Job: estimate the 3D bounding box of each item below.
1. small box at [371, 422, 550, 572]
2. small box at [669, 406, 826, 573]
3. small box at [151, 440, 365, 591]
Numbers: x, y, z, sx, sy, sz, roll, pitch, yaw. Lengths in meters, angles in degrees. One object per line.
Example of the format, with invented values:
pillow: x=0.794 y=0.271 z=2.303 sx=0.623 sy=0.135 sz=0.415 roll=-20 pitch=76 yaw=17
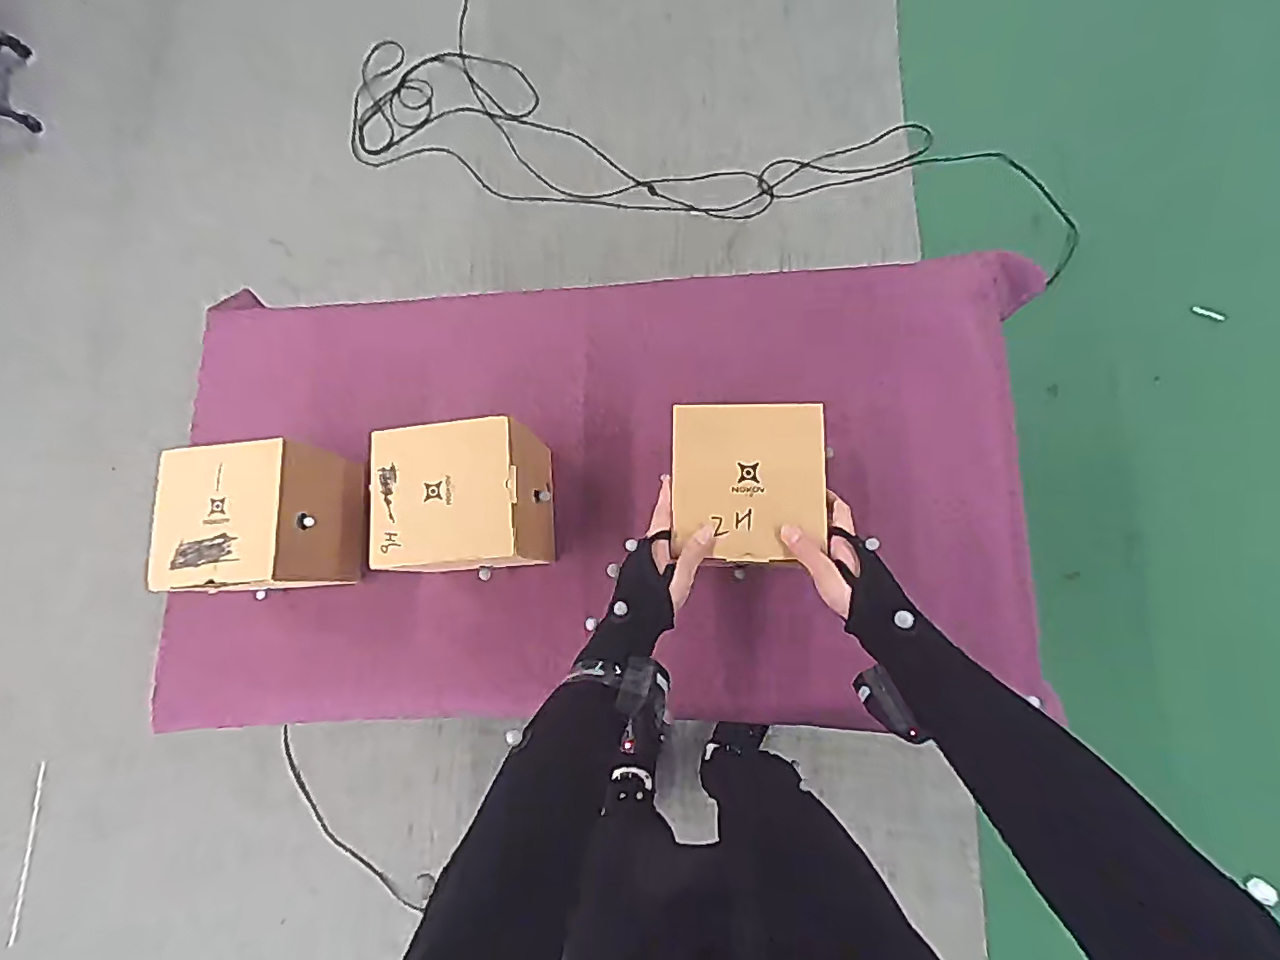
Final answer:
small box: x=-0.218 y=0.032 z=0.703 sx=0.179 sy=0.176 sz=0.168 roll=-5 pitch=78 yaw=6
small box: x=0.126 y=0.019 z=0.662 sx=0.168 sy=0.176 sz=0.179 roll=1 pitch=79 yaw=8
small box: x=-0.498 y=0.056 z=0.731 sx=0.168 sy=0.176 sz=0.179 roll=-5 pitch=78 yaw=6
